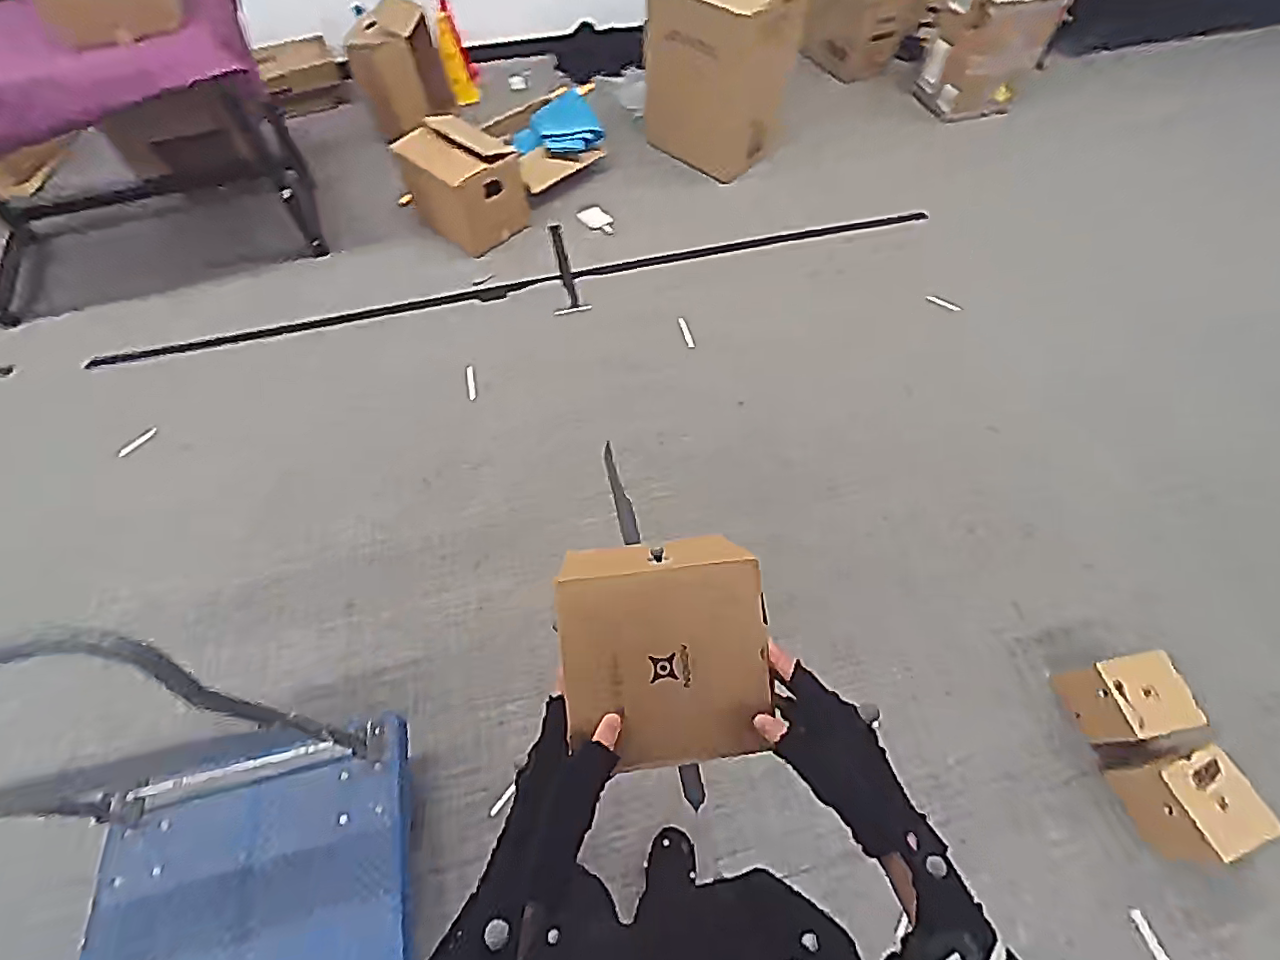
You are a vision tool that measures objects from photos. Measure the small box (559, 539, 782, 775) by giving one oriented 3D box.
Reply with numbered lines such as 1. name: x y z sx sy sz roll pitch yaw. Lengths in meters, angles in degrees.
1. small box: 0.021 0.153 0.529 0.179 0.176 0.168 -7 89 -3

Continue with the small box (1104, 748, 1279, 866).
1. small box: 1.196 0.714 1.189 0.168 0.176 0.179 -17 61 -9

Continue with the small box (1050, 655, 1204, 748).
1. small box: 1.152 0.533 1.297 0.179 0.176 0.168 -9 59 -6
